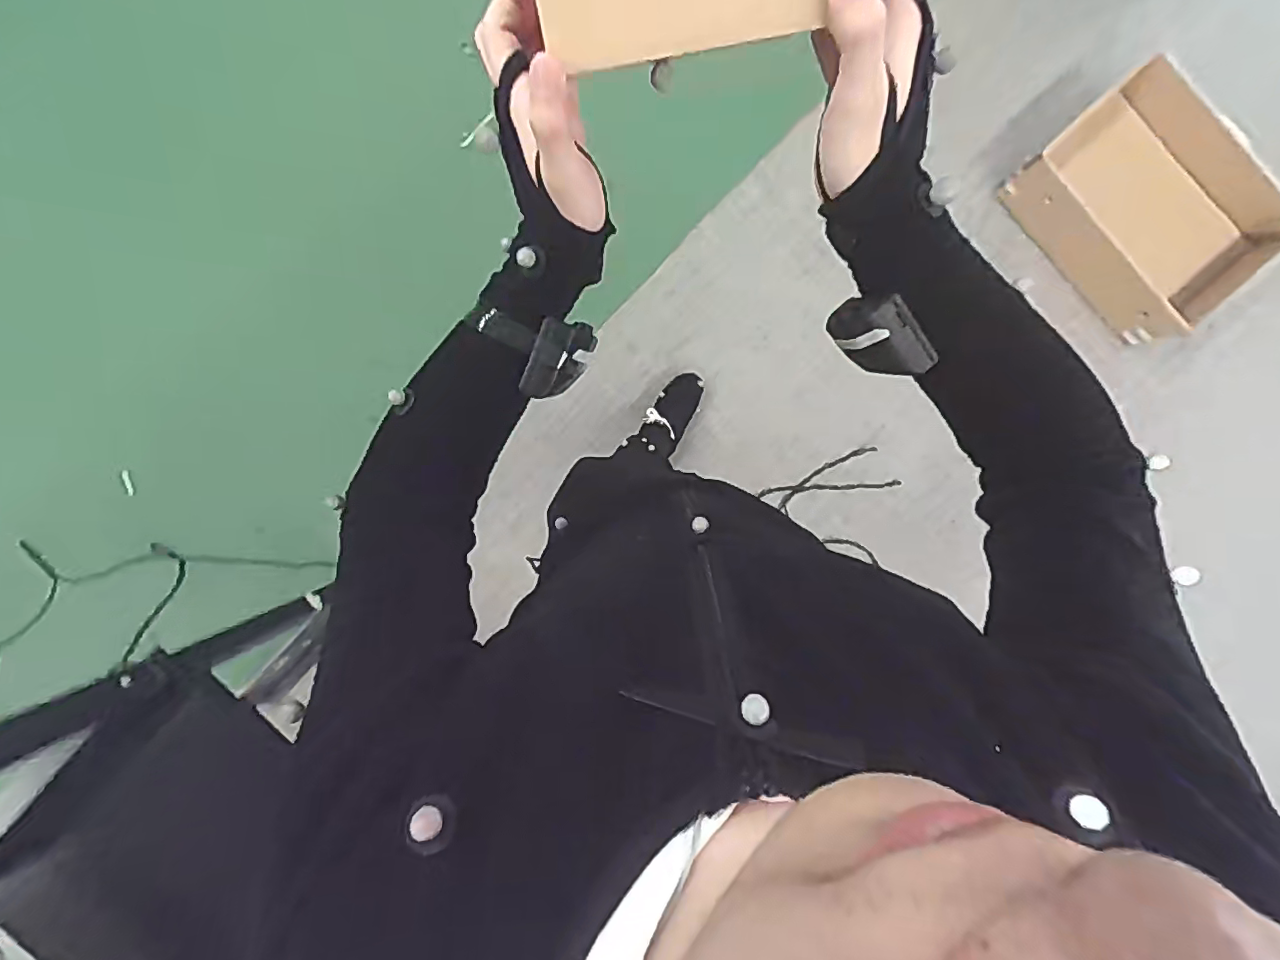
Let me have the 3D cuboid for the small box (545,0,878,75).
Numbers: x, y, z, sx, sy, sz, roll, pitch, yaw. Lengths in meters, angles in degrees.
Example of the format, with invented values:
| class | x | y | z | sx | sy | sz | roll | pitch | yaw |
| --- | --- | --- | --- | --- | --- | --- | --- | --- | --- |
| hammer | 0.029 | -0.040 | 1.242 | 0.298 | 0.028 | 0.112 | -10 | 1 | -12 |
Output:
| class | x | y | z | sx | sy | sz | roll | pitch | yaw |
| --- | --- | --- | --- | --- | --- | --- | --- | --- | --- |
| small box | 0.029 | -0.337 | 0.288 | 0.168 | 0.176 | 0.179 | -6 | 126 | 5 |
